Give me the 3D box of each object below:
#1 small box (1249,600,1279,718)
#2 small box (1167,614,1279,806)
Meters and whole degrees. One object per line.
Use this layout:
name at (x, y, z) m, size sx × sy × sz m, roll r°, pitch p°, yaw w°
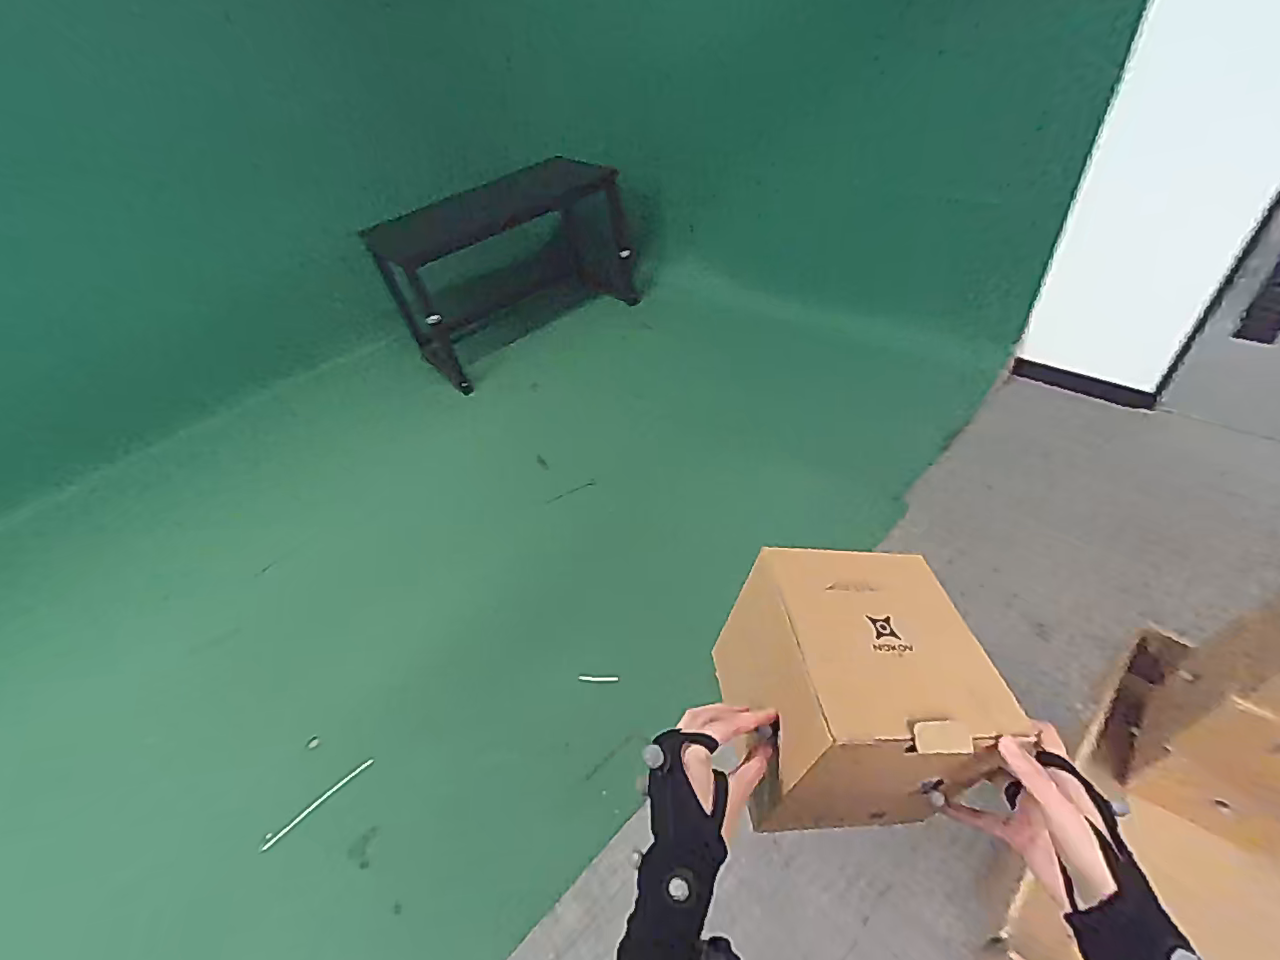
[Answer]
small box at (0.857, 0.202, 0.612) m, size 0.168 × 0.176 × 0.179 m, roll 28°, pitch 57°, yaw 36°
small box at (0.873, 0.322, 0.725) m, size 0.179 × 0.176 × 0.168 m, roll 26°, pitch 56°, yaw 35°
